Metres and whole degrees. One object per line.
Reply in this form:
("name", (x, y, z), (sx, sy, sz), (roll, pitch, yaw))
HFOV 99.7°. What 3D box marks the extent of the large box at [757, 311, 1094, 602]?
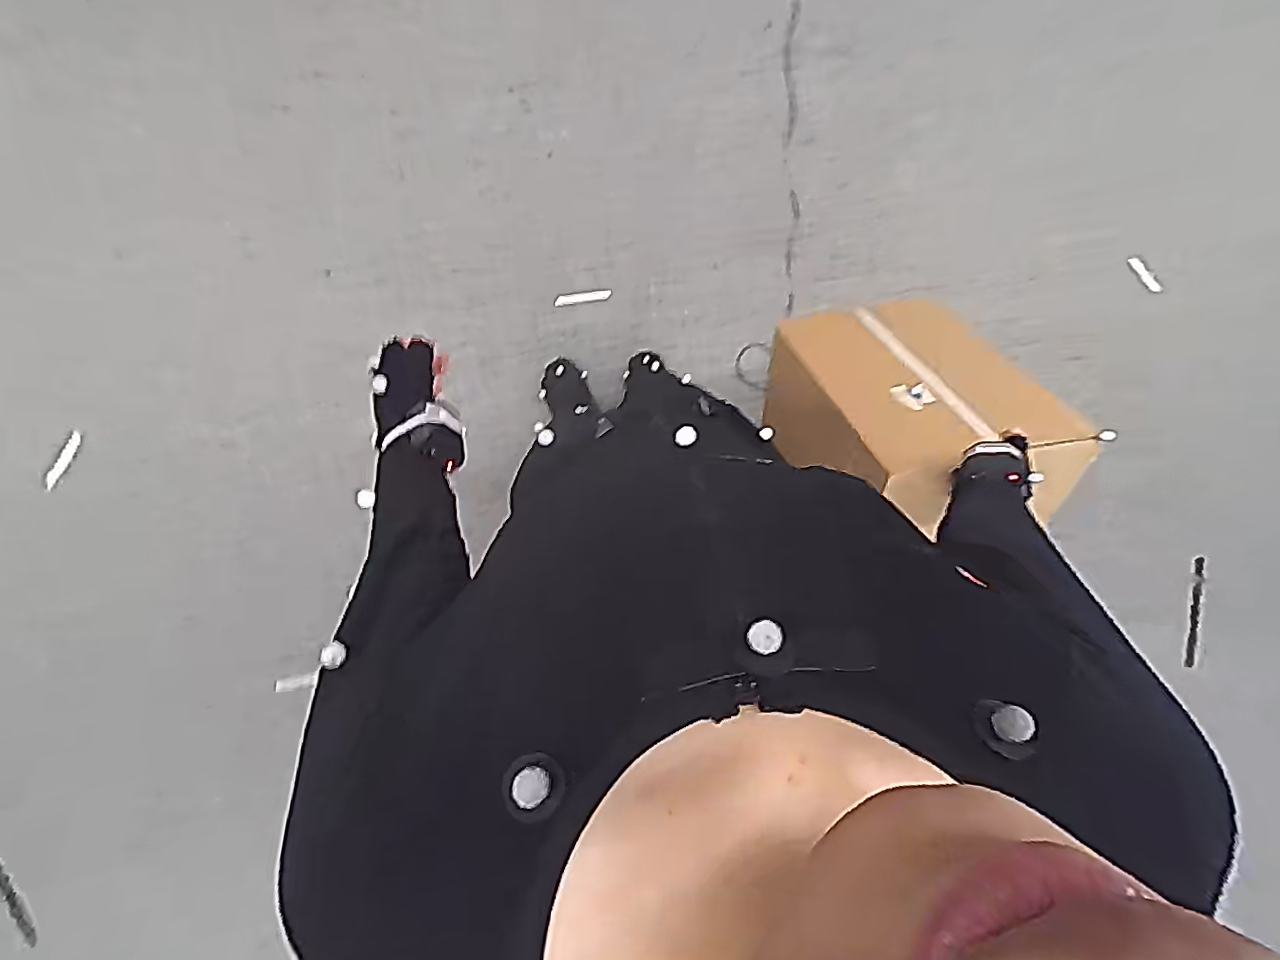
("large box", (0.439, -0.054, 0.965), (0.320, 0.408, 0.320), (-10, 135, -6))
